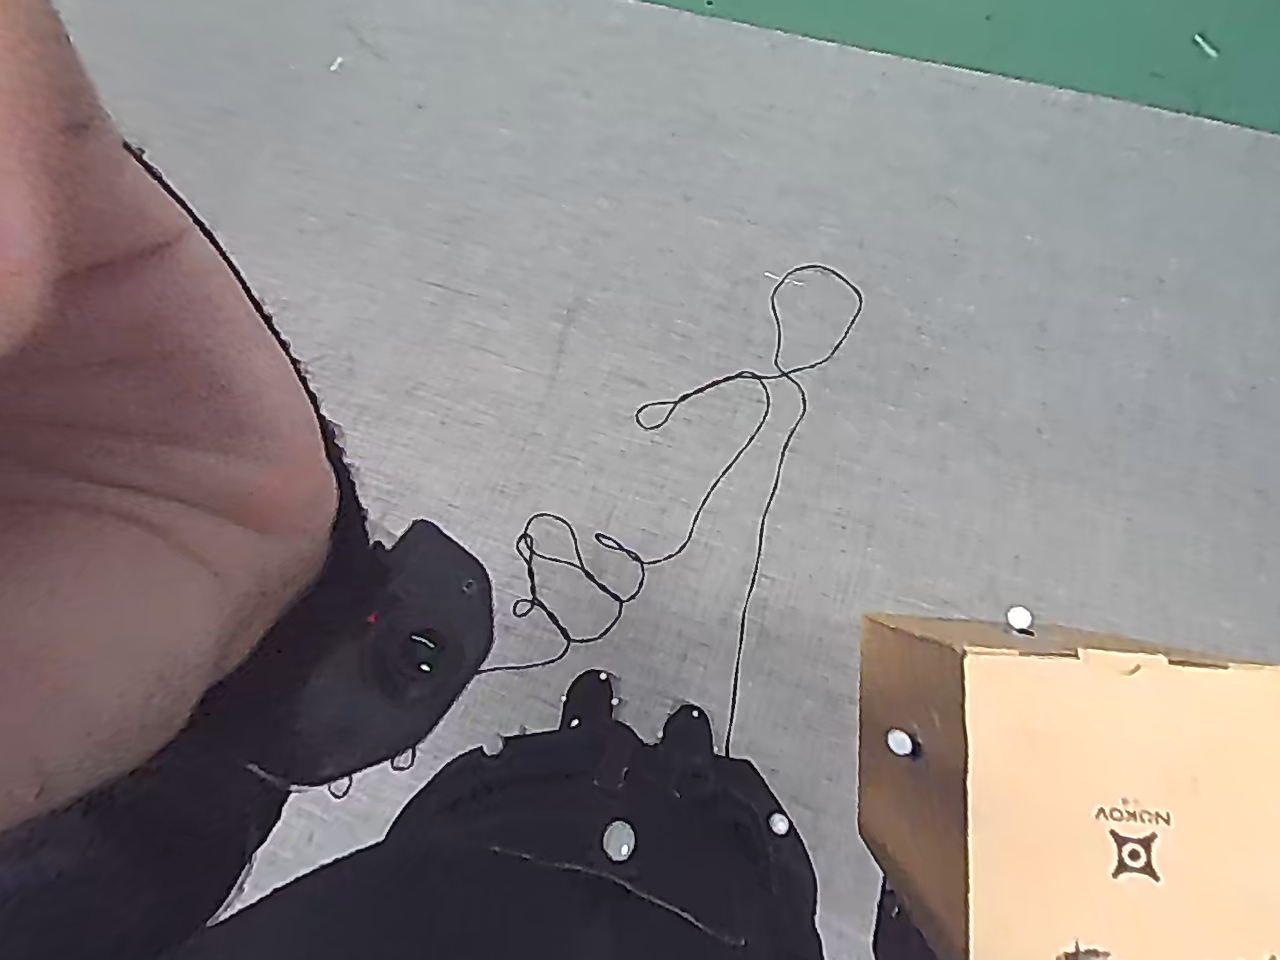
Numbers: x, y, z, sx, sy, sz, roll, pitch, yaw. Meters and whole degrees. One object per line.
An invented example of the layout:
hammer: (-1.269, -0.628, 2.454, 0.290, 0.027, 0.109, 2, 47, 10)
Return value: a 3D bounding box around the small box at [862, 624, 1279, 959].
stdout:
small box: (0.257, 0.195, 0.360, 0.168, 0.176, 0.179, 2, 82, 5)
